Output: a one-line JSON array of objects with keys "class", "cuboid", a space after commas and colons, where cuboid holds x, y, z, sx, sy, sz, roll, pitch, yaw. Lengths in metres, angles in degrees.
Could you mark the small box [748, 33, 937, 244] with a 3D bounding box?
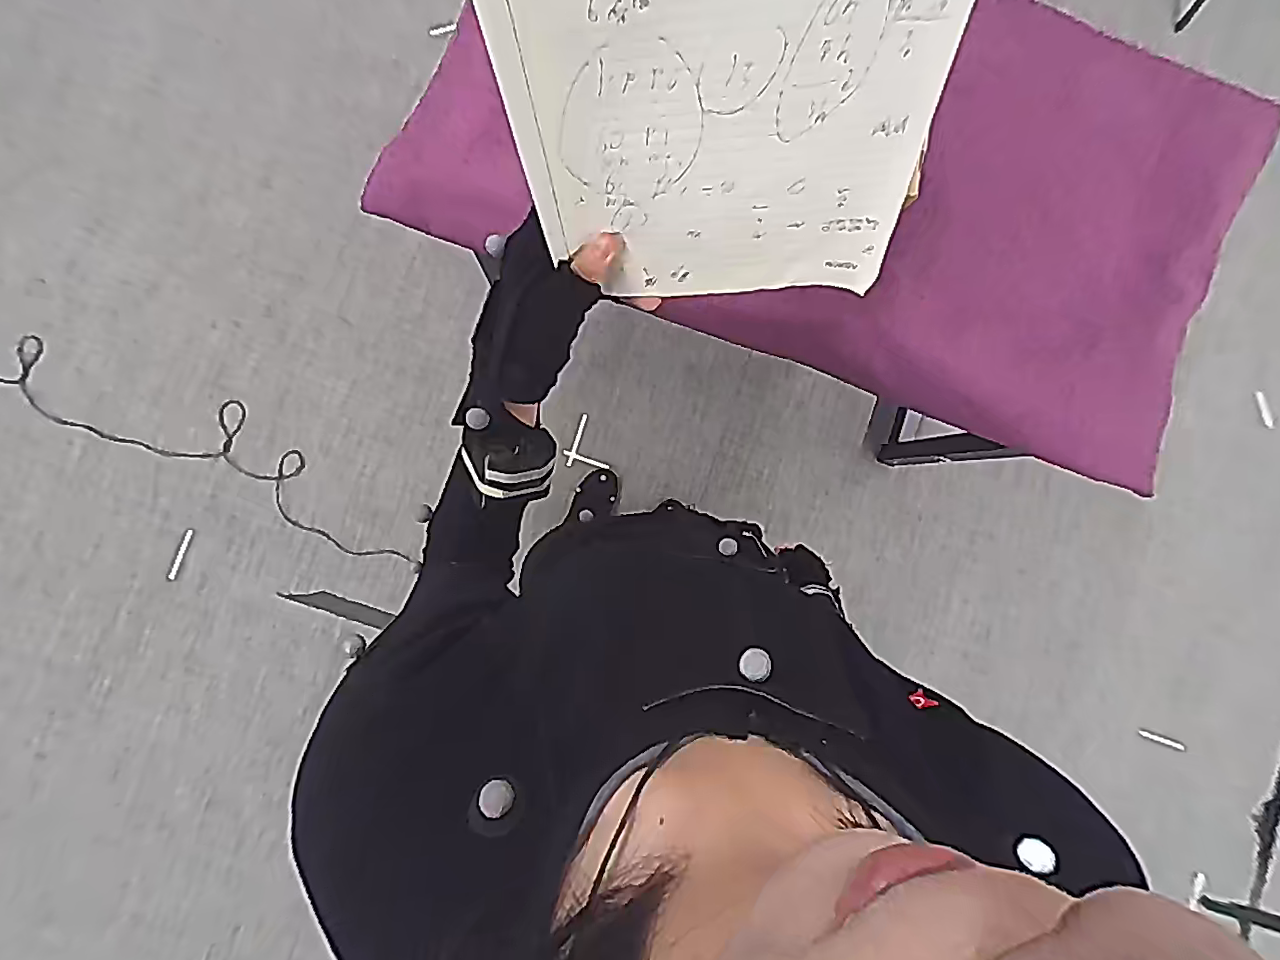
[{"class": "small box", "cuboid": [0.264, -0.446, 0.737, 0.179, 0.176, 0.168, 8, 88, -5]}]
